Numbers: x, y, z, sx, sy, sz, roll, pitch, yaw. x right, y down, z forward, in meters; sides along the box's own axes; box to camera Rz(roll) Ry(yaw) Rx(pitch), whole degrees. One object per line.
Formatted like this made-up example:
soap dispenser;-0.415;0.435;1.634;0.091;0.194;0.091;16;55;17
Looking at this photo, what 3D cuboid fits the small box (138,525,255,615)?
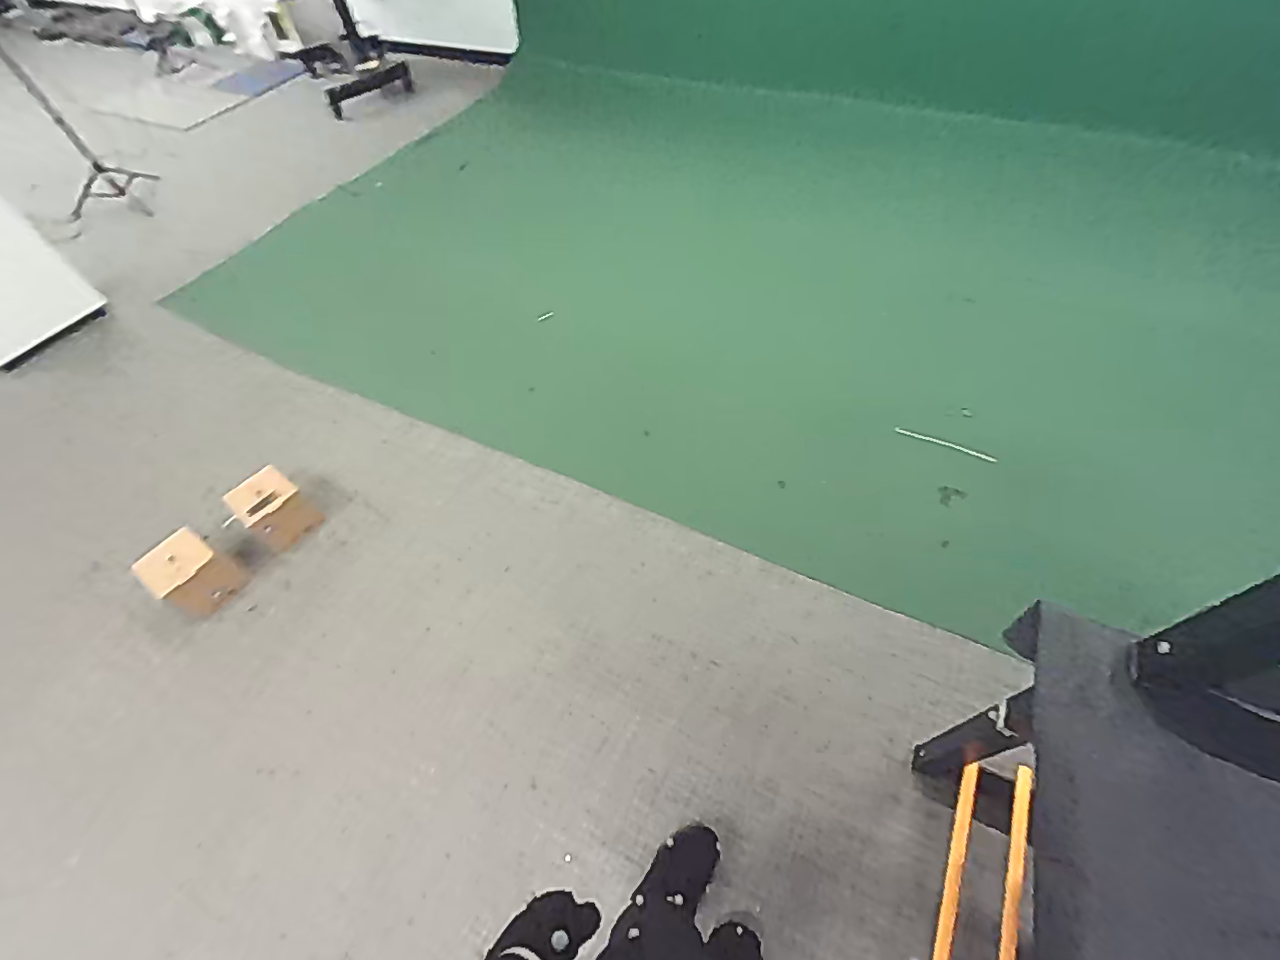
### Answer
small box;-1.297;0.270;1.592;0.179;0.176;0.168;30;62;22
